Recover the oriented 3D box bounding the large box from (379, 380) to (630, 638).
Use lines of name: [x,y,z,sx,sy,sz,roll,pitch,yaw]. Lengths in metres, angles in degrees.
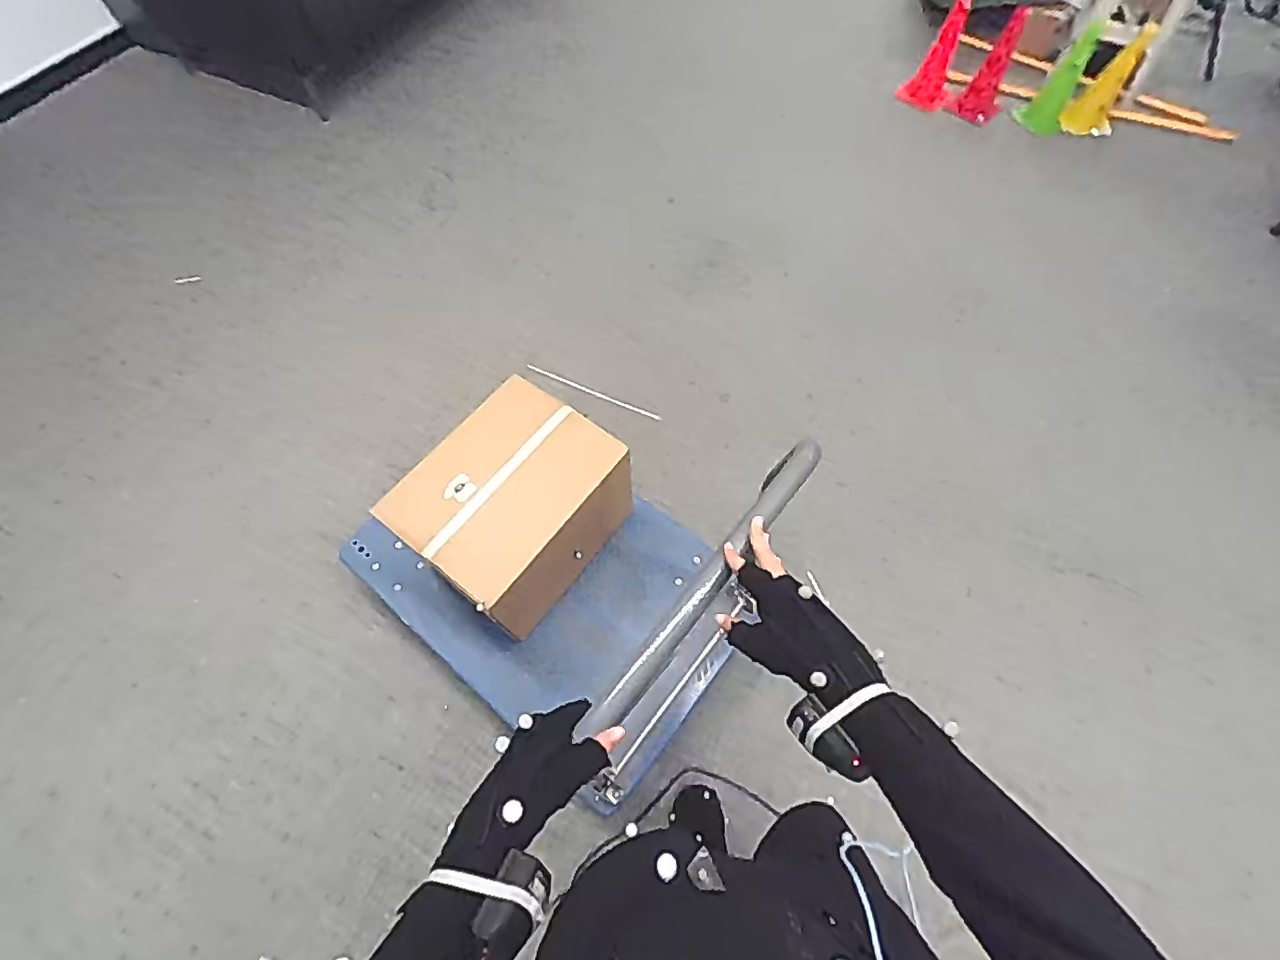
large box: [-0.258,0.071,1.184,0.320,0.320,0.408,33,69,17]
